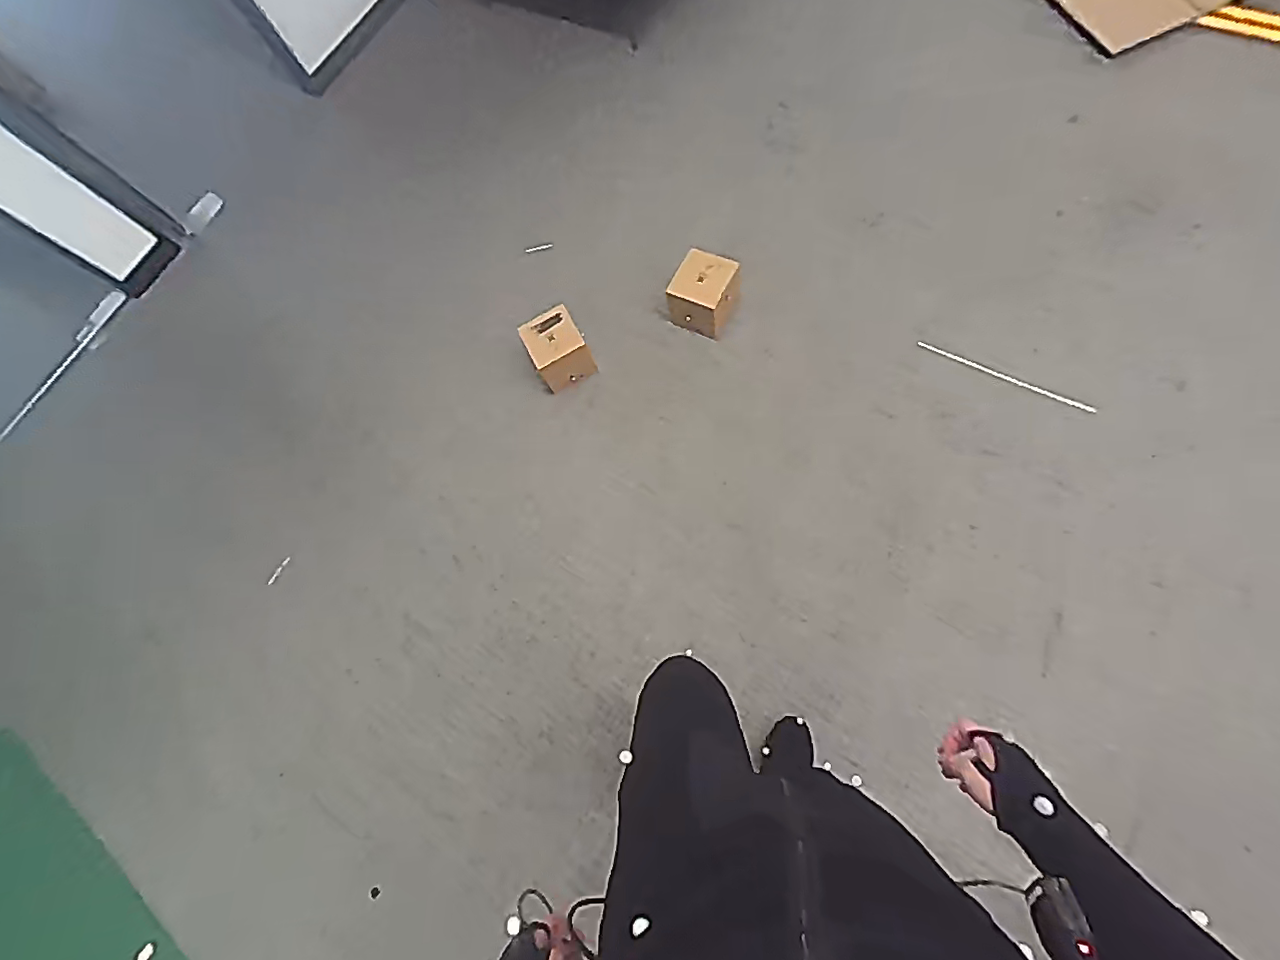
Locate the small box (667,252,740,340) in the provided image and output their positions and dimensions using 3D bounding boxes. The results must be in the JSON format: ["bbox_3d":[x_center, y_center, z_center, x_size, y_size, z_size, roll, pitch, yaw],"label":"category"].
[{"bbox_3d":[0.207,-0.572,1.698,0.168,0.176,0.179,26,78,17],"label":"small box"}]
